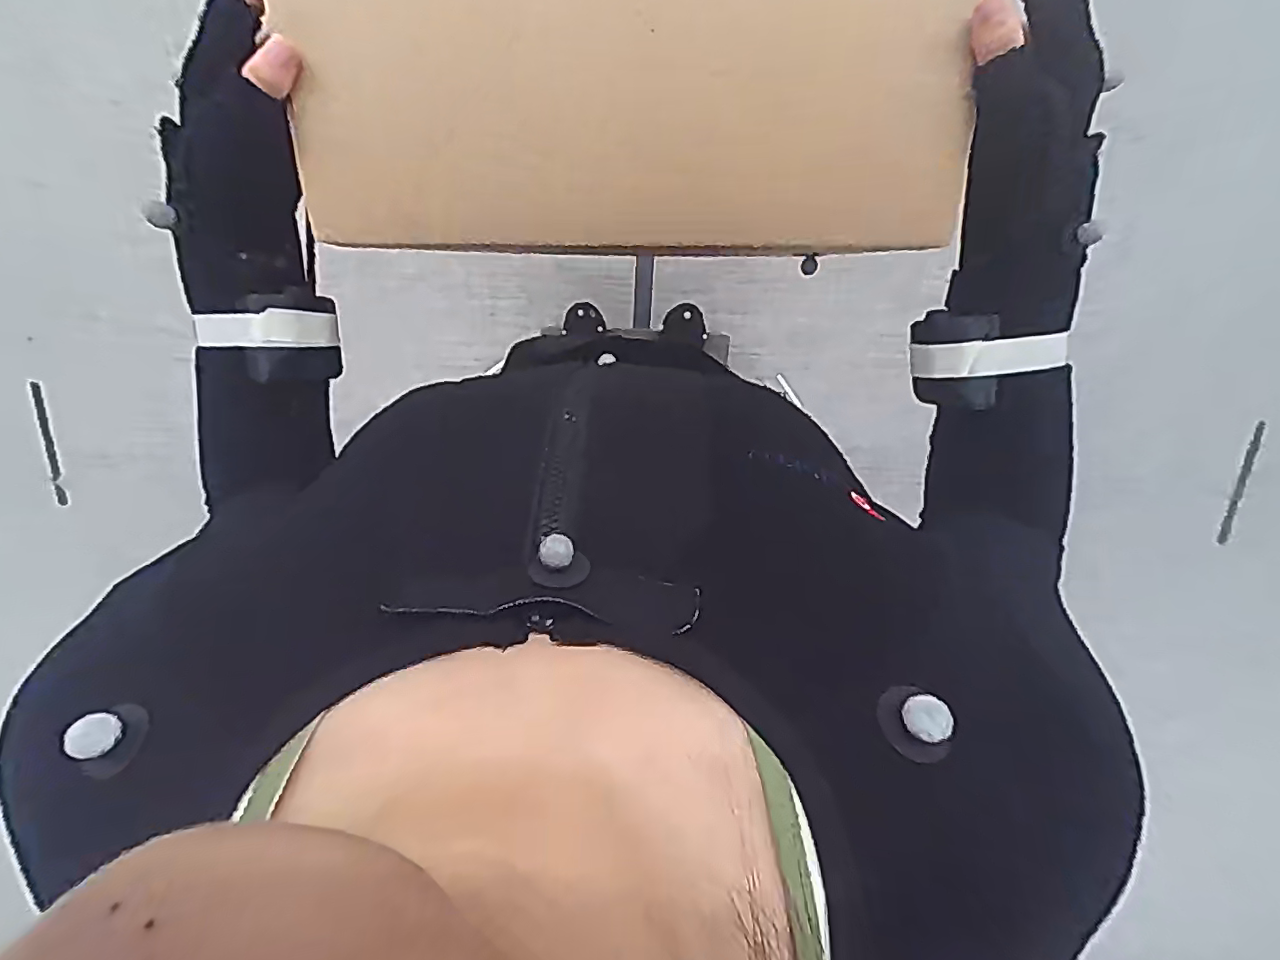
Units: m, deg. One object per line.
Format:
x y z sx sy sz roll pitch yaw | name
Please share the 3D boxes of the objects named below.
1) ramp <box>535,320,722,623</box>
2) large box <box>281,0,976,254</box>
-0.045 0.039 1.619 0.509 0.206 0.991 1 108 -1 | ramp
-0.003 -0.353 0.436 0.408 0.320 0.320 1 111 1 | large box
